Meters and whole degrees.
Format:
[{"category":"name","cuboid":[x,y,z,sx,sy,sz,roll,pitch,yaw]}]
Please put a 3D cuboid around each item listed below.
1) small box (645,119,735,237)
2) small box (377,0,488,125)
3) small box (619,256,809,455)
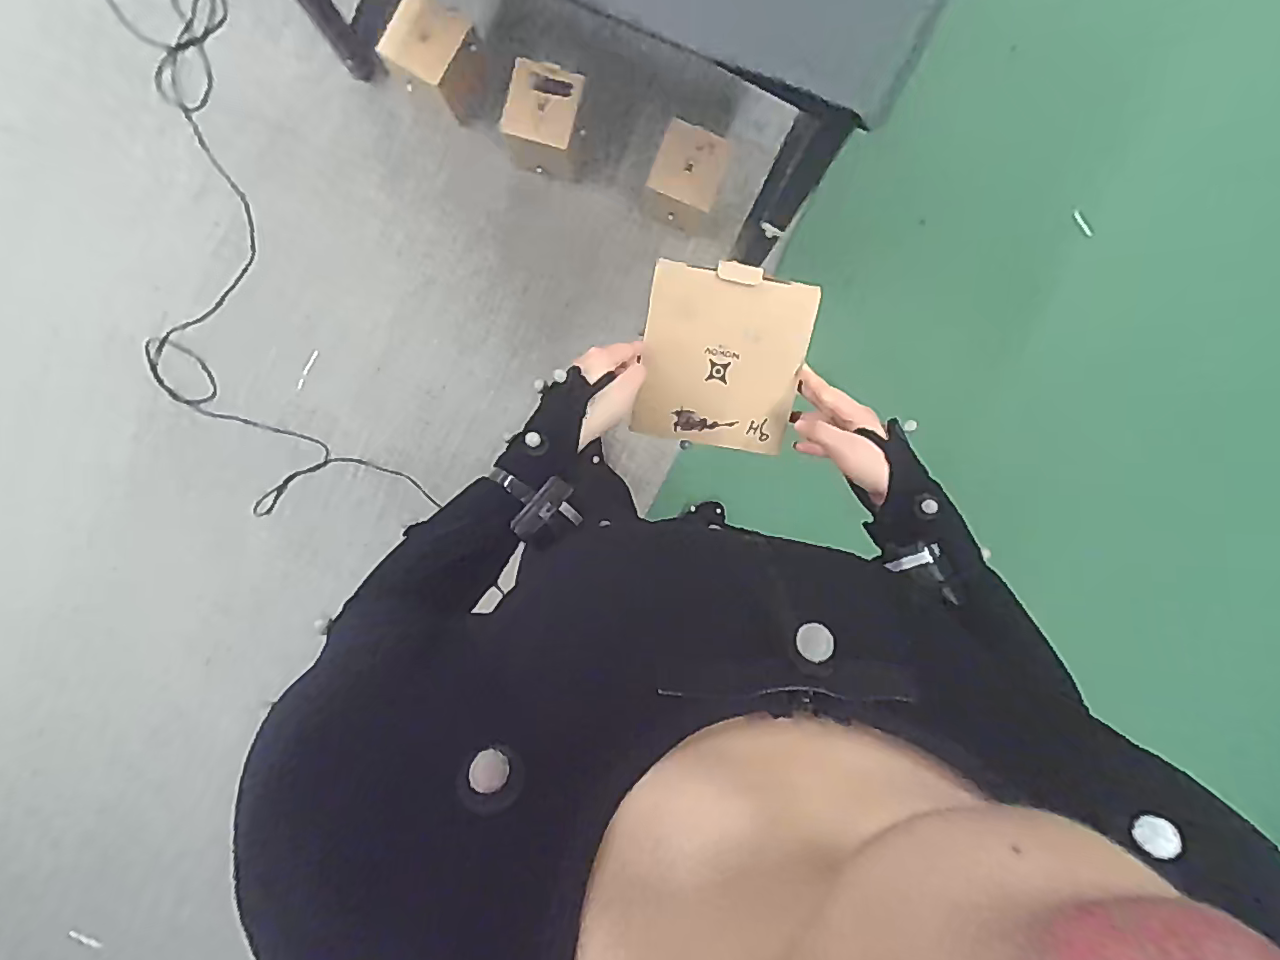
[{"category":"small box","cuboid":[0.118,-0.740,1.349,0.168,0.176,0.179,22,93,-2]},{"category":"small box","cuboid":[-0.497,-1.029,1.329,0.168,0.176,0.179,31,92,-2]},{"category":"small box","cuboid":[0.074,-0.144,0.618,0.168,0.176,0.179,9,108,0]}]
